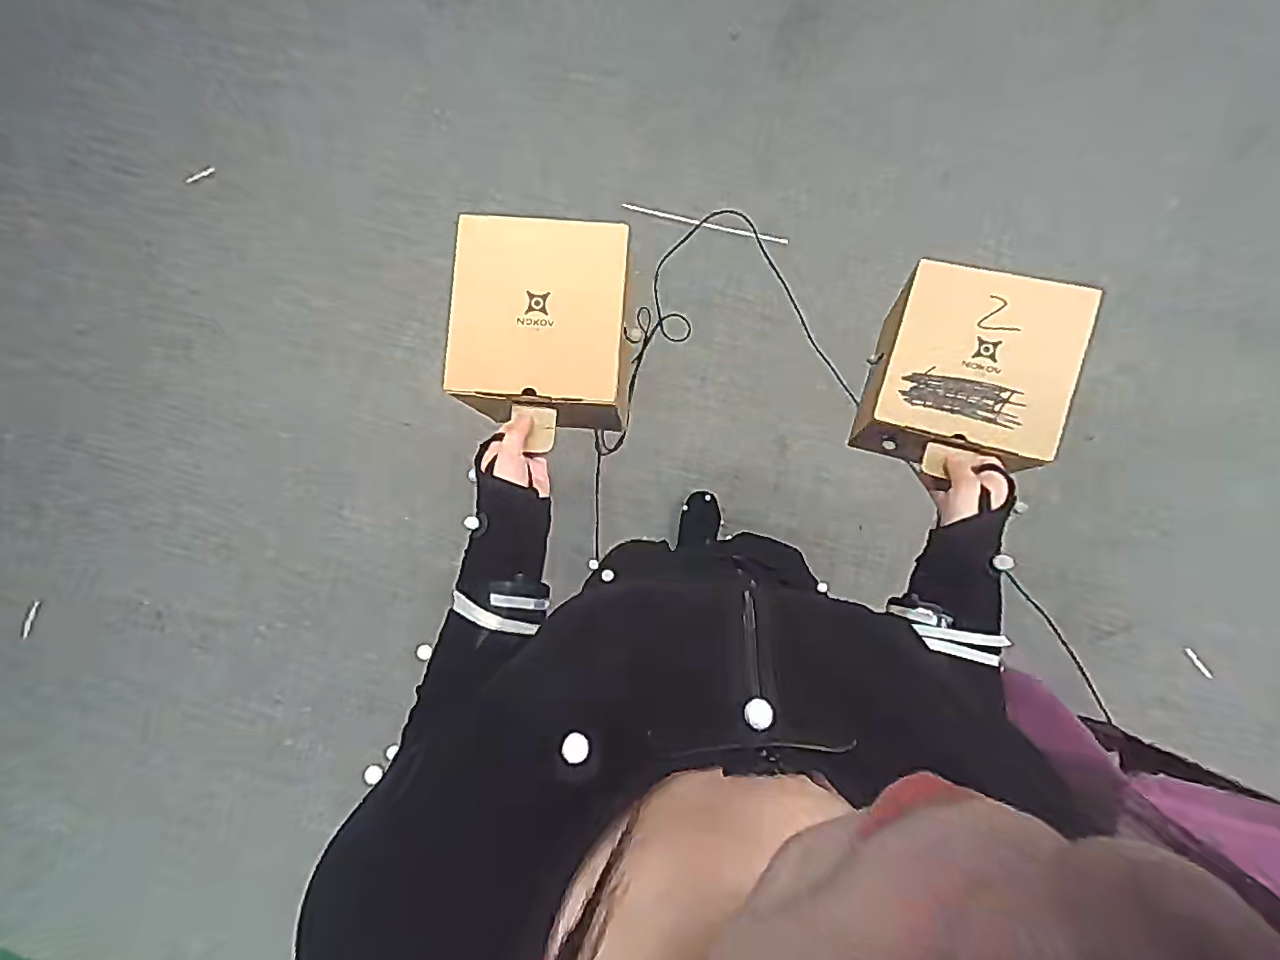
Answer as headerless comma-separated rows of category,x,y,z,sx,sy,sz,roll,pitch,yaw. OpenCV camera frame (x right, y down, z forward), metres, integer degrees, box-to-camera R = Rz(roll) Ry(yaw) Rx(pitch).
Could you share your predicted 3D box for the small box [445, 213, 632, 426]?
small box,-0.098,-0.163,0.598,0.168,0.176,0.179,4,88,2
